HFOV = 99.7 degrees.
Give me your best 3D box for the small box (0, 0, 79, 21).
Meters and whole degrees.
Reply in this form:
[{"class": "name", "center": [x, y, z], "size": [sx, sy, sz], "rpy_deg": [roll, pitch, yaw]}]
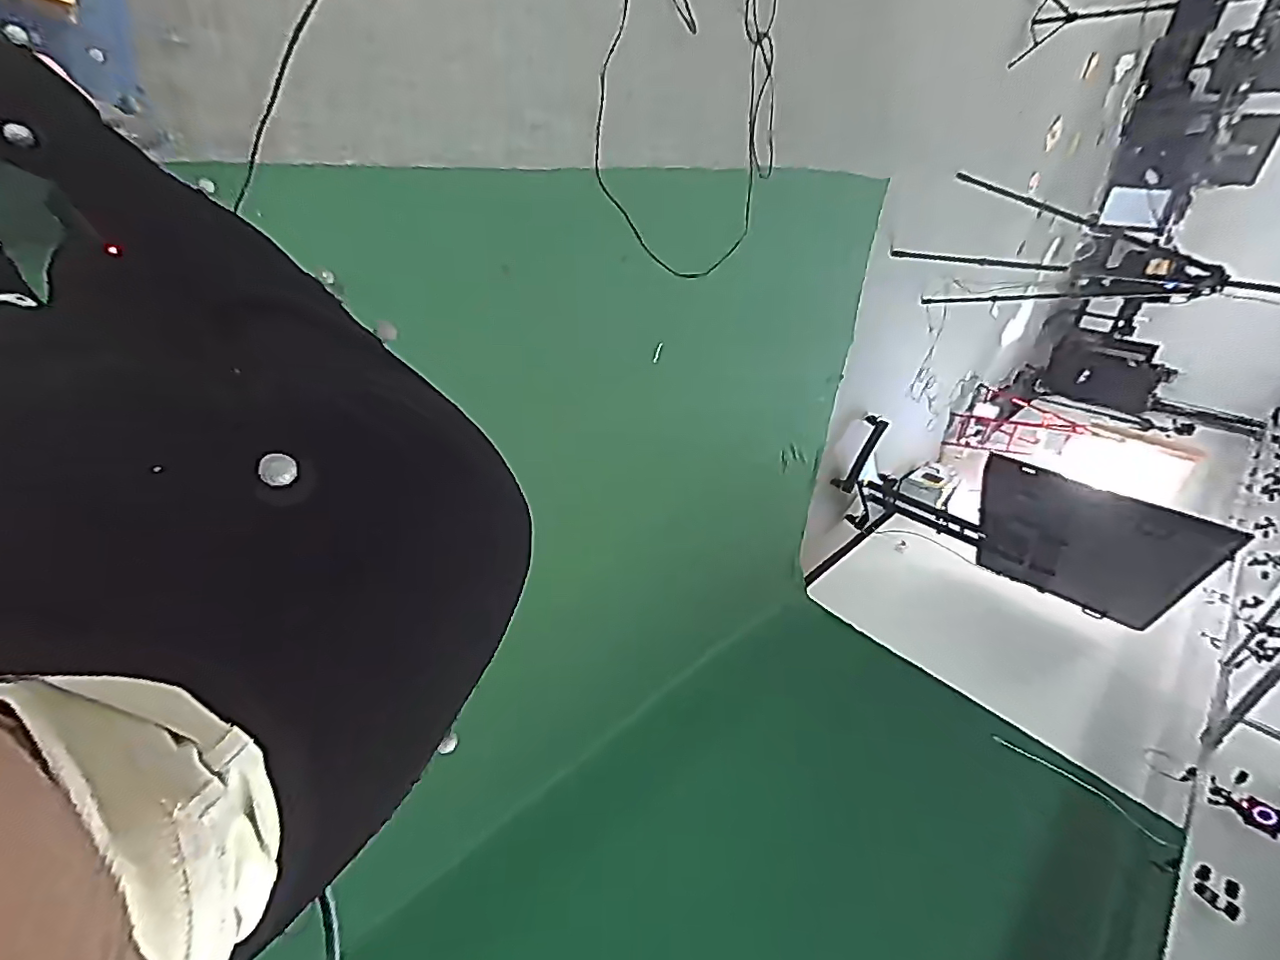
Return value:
[{"class": "small box", "center": [-0.881, -0.755, 0.716], "size": [0.168, 0.176, 0.179], "rpy_deg": [-12, 122, -43]}]
